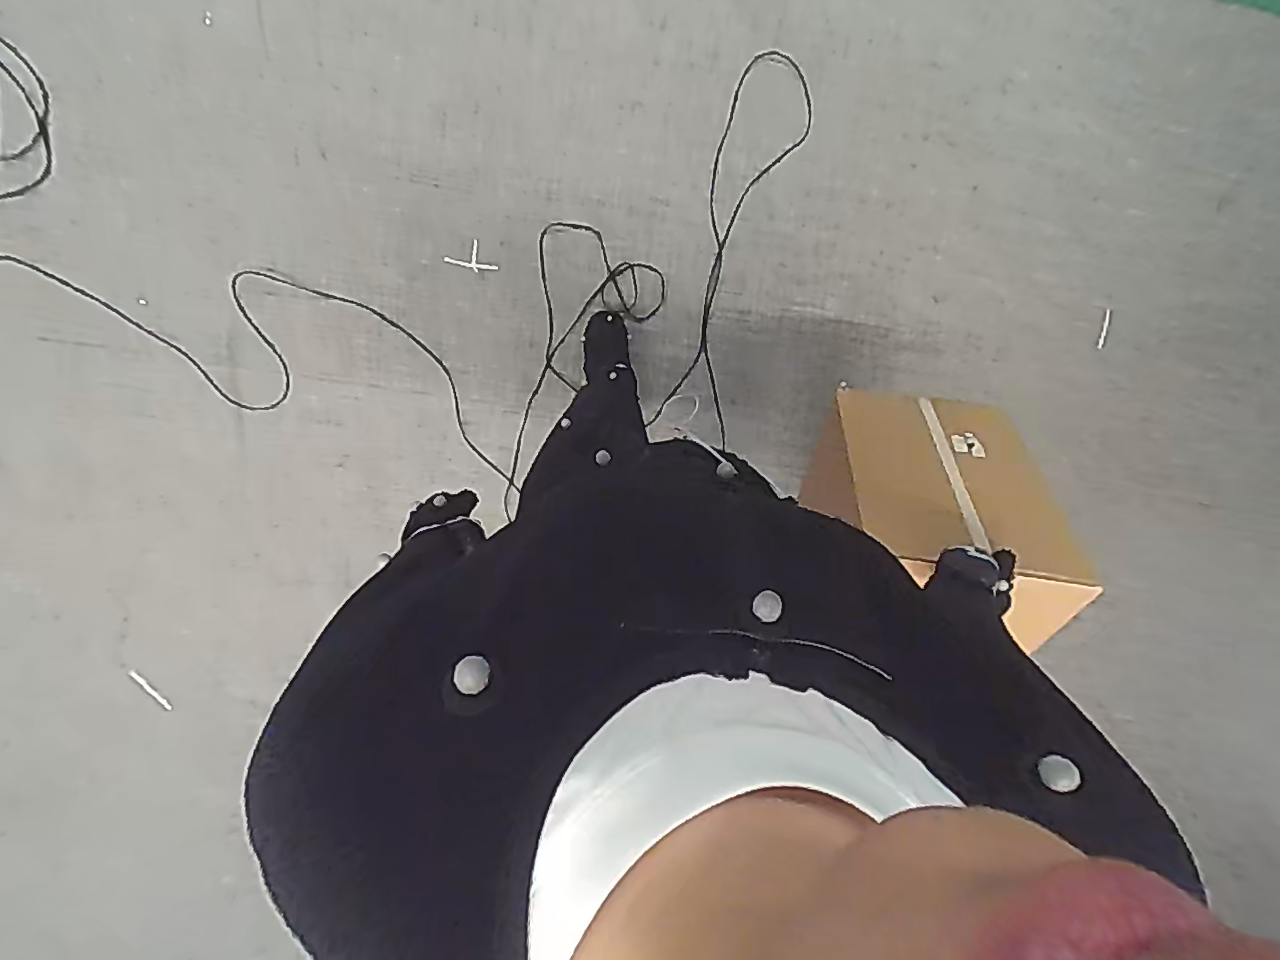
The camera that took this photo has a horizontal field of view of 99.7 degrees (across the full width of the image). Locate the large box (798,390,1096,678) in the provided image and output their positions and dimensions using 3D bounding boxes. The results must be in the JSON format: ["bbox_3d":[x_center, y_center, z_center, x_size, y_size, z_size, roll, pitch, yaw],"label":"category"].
[{"bbox_3d":[0.486,0.090,0.980,0.320,0.408,0.320,8,134,4],"label":"large box"}]
